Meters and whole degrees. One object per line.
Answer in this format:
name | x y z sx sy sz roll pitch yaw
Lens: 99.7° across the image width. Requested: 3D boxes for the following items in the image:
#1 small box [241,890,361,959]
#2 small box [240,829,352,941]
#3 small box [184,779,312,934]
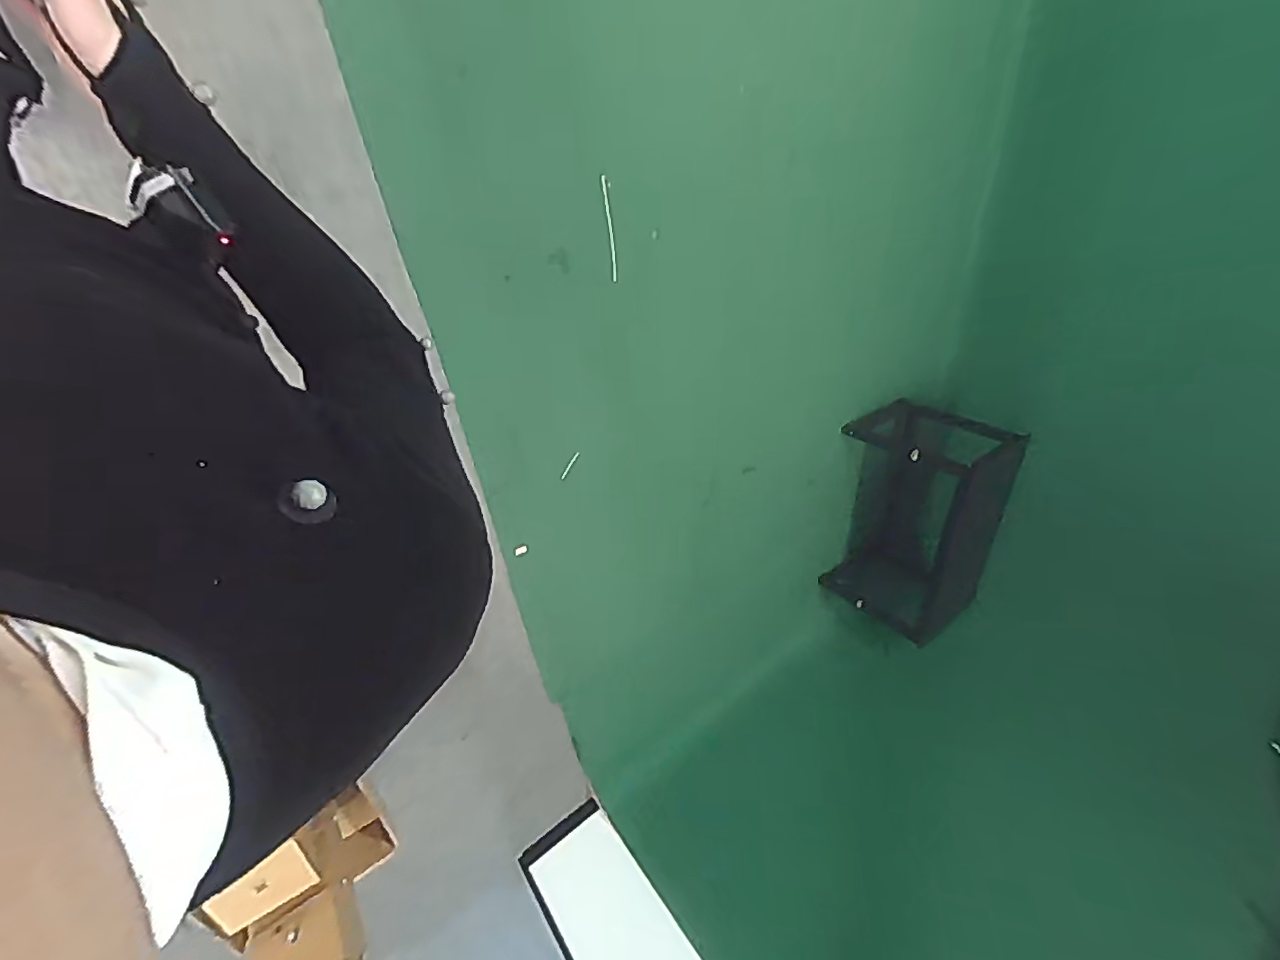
small box | -0.687 1.001 1.110 0.168 0.176 0.179 -26 125 -28
small box | -0.784 0.953 1.235 0.168 0.176 0.179 -24 124 -28
small box | -0.799 0.751 1.103 0.168 0.176 0.179 -20 126 -30
